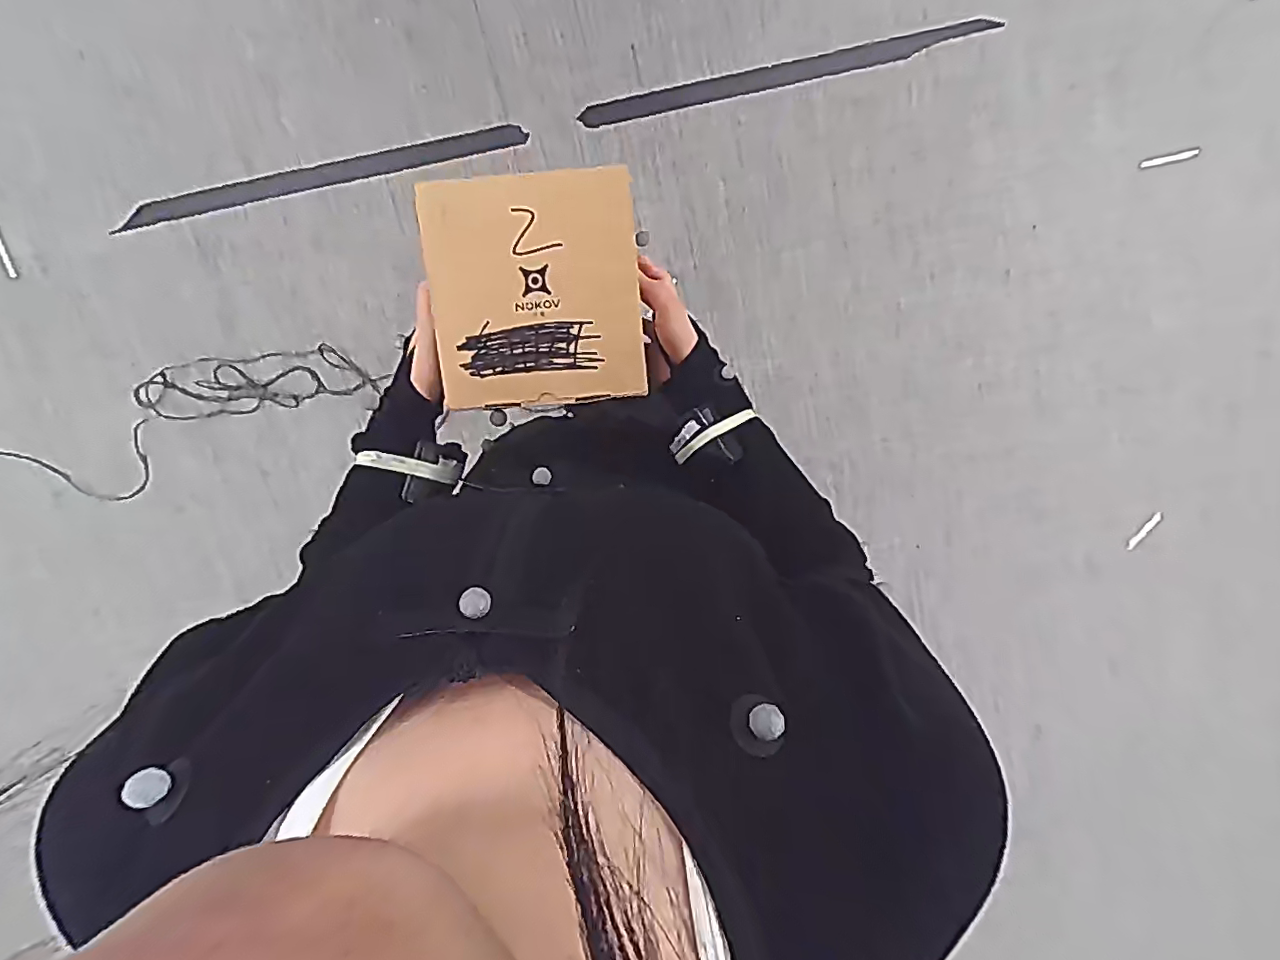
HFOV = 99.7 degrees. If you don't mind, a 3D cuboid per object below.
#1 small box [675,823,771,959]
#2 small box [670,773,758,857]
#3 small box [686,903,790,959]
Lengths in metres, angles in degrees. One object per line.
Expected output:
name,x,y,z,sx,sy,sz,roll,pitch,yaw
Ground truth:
small box,0.170,0.855,1.117,0.168,0.176,0.179,-7,100,-3
small box,0.172,0.824,1.279,0.179,0.176,0.168,-6,101,-2
small box,0.181,0.896,0.958,0.168,0.176,0.179,-9,100,-2
